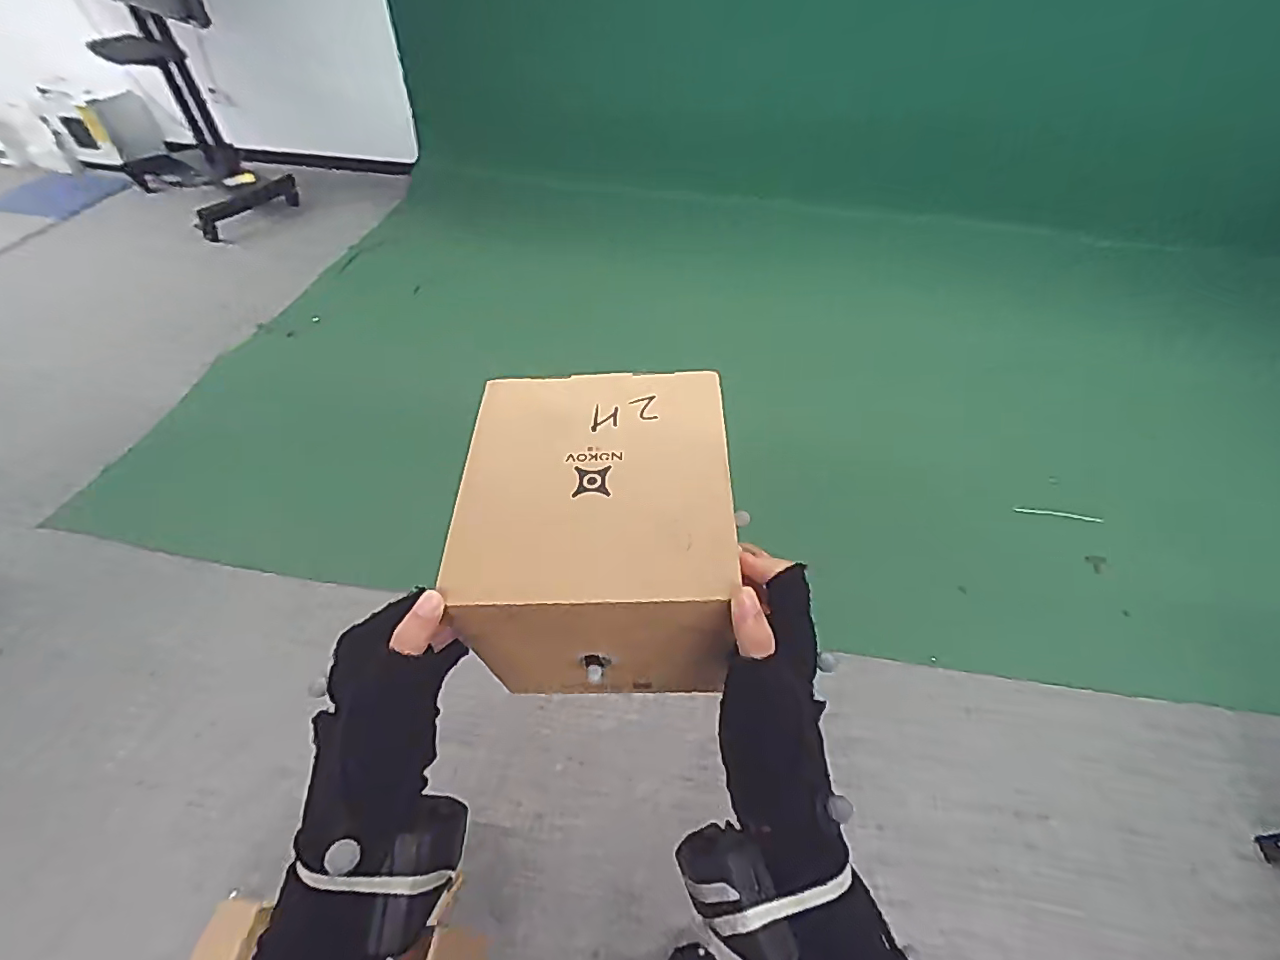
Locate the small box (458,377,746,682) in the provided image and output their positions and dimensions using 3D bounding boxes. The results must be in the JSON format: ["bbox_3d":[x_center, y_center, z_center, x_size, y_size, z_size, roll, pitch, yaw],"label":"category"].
[{"bbox_3d":[-0.016,0.045,0.409,0.168,0.176,0.179,-1,53,2],"label":"small box"}]
